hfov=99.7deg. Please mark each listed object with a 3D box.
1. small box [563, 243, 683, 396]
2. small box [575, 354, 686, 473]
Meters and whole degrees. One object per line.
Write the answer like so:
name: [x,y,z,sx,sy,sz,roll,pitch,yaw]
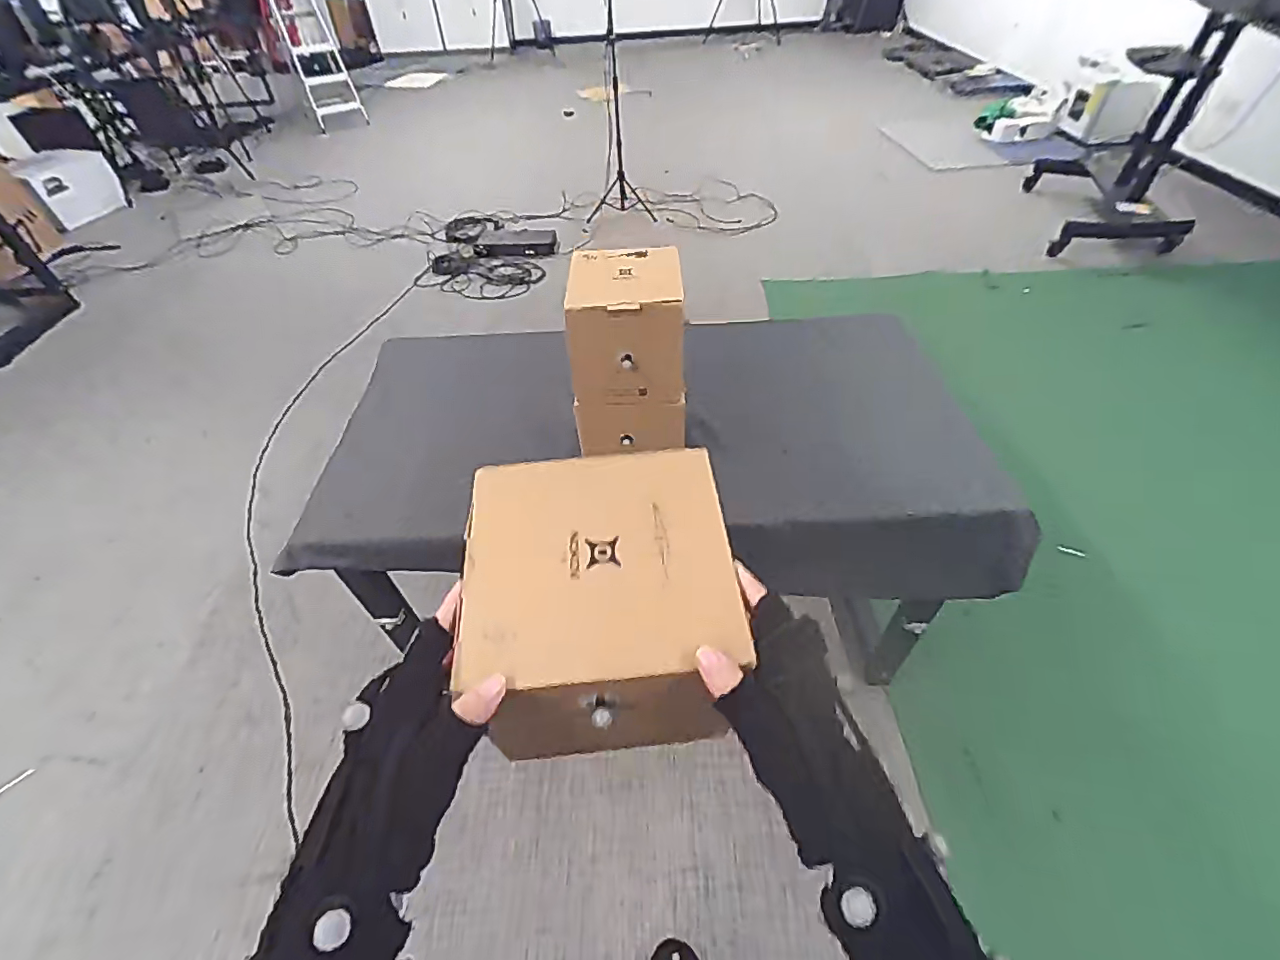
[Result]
small box: [-0.018,-0.243,0.838,0.168,0.176,0.179,-2,48,2]
small box: [-0.011,-0.126,0.952,0.179,0.176,0.168,-1,47,3]
